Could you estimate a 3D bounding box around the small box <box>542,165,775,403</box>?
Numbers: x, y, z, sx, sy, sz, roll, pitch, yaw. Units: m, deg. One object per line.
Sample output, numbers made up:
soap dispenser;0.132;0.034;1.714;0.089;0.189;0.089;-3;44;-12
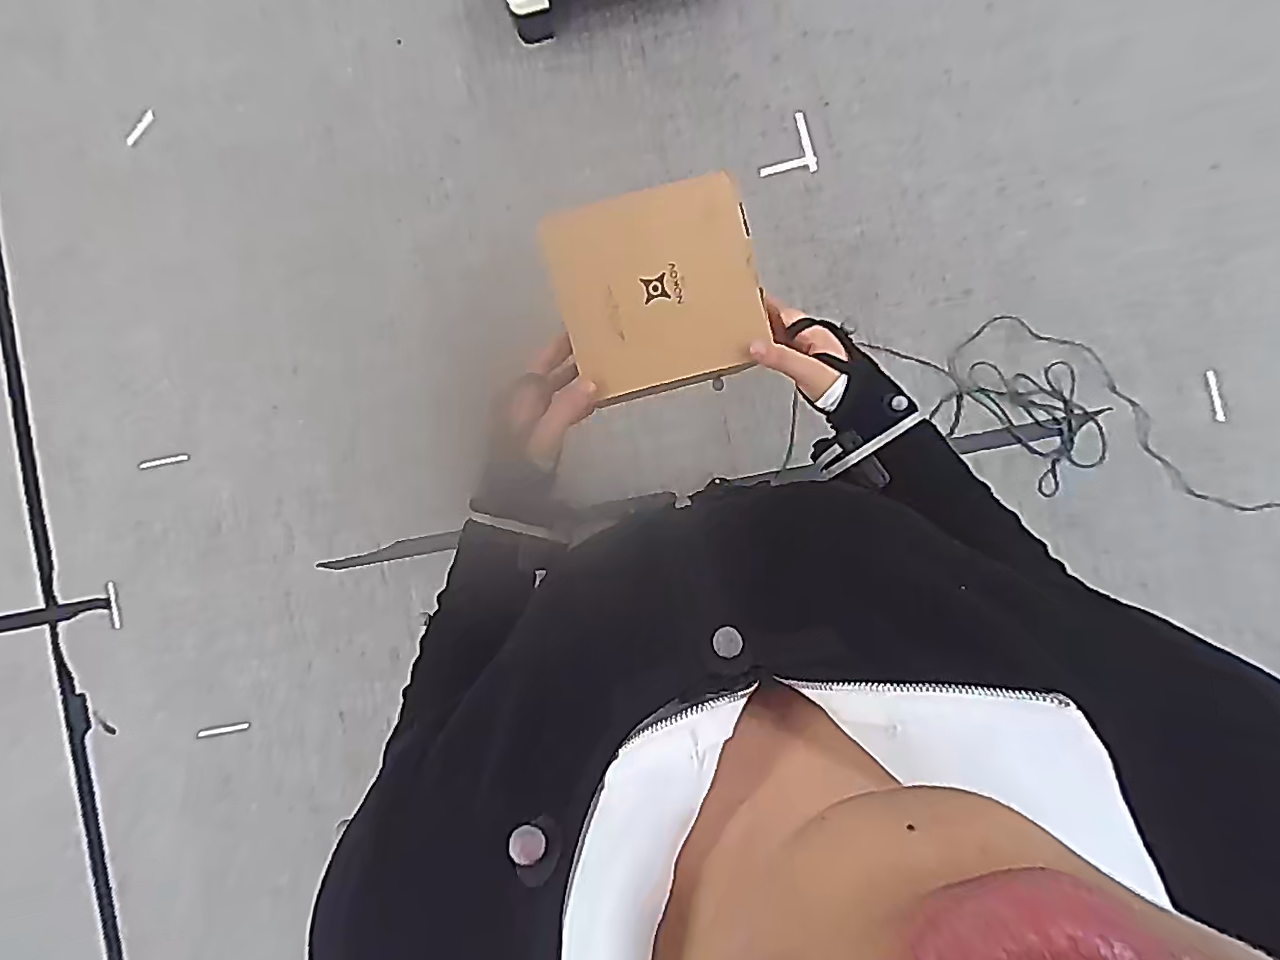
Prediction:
small box;0.016;-0.181;0.553;0.179;0.176;0.168;-15;95;1
